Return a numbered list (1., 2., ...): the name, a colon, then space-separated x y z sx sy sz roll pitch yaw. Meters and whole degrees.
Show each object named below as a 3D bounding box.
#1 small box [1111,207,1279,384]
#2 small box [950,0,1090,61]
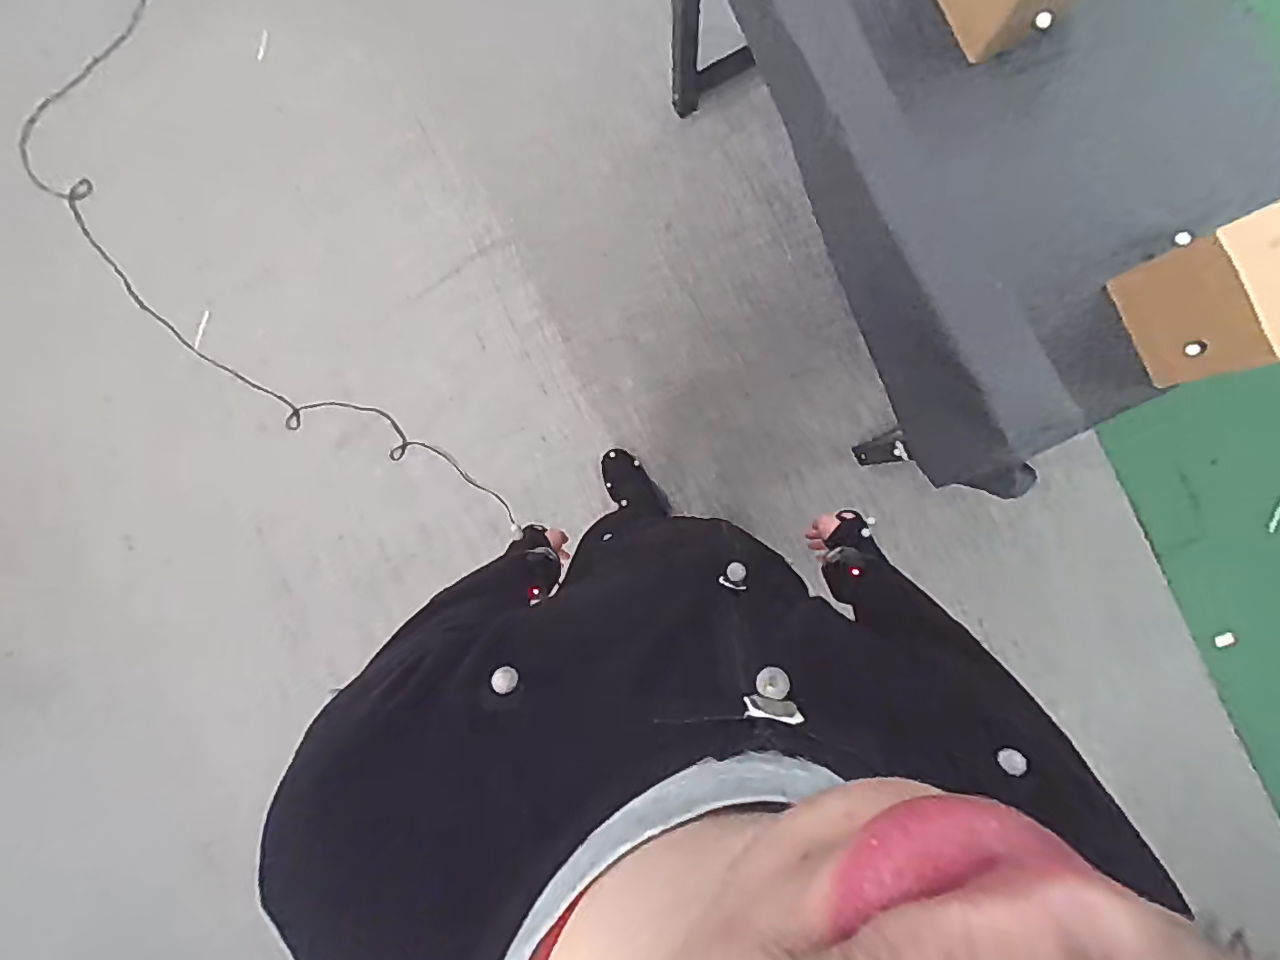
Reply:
1. small box: 0.788 -0.239 0.706 0.168 0.176 0.179 -24 87 2
2. small box: 0.533 -0.727 0.722 0.168 0.176 0.179 -25 89 4
